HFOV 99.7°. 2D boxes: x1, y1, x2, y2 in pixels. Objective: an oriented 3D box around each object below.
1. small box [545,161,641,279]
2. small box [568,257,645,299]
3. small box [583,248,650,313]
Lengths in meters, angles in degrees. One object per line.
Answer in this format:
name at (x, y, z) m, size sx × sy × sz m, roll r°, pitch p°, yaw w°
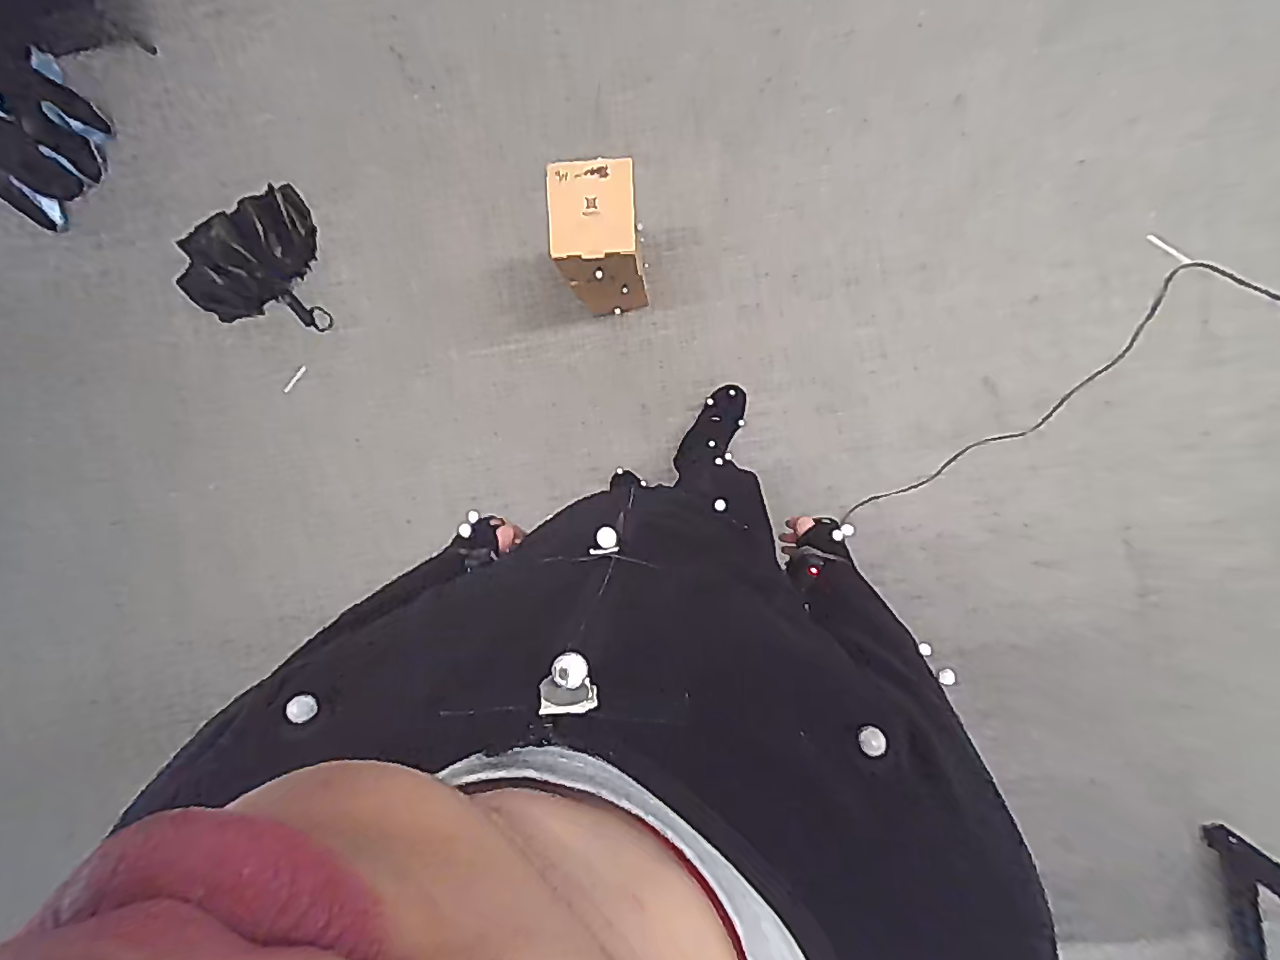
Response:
small box at (-0.087, -0.512, 1.093) m, size 0.168 × 0.176 × 0.179 m, roll -2°, pitch 97°, yaw 5°
small box at (-0.083, -0.532, 1.254) m, size 0.168 × 0.176 × 0.179 m, roll -9°, pitch 94°, yaw 4°
small box at (-0.071, -0.553, 1.414) m, size 0.168 × 0.176 × 0.179 m, roll -10°, pitch 96°, yaw 6°
